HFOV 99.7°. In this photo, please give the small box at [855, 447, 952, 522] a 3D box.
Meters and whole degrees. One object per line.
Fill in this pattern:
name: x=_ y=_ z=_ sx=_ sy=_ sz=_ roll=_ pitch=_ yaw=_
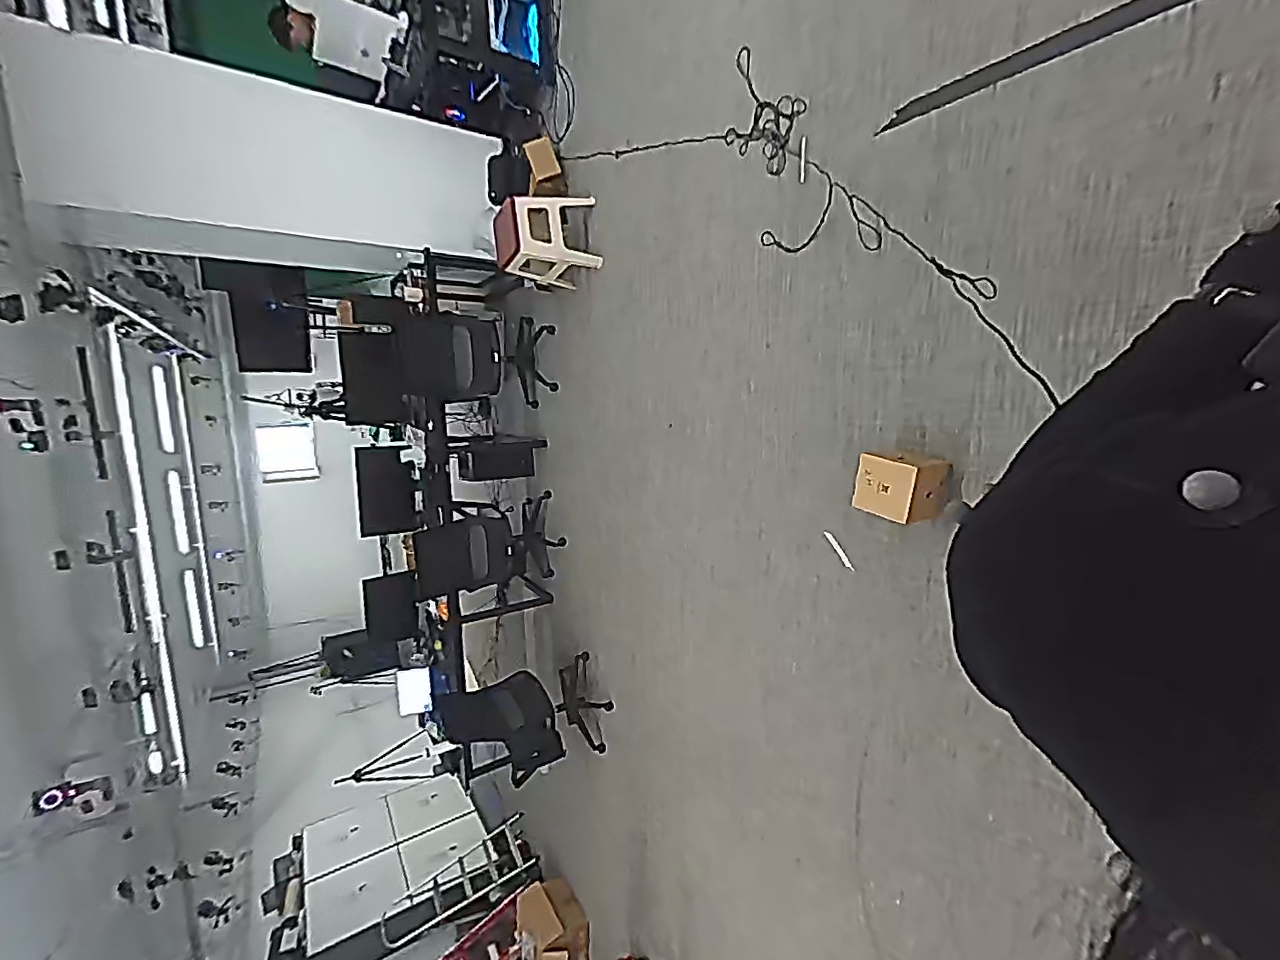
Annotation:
small box: x=0.756 y=0.005 z=1.549 sx=0.179 sy=0.176 sz=0.168 roll=28 pitch=118 yaw=53
